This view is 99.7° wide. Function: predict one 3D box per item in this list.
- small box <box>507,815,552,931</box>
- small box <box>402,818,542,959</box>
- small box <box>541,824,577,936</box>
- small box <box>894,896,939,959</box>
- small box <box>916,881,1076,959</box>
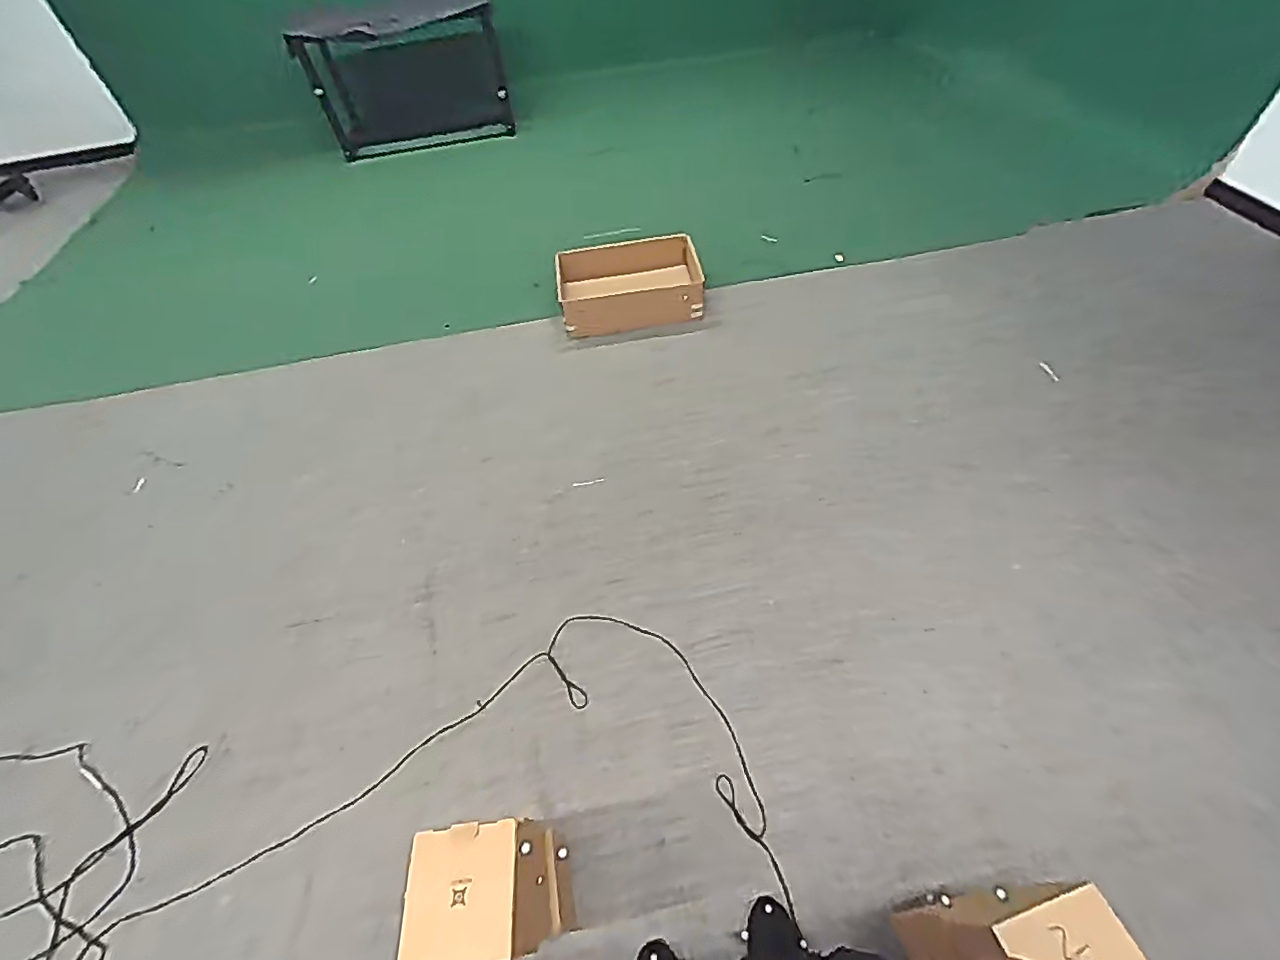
[{"bbox_3d":[-0.267,0.754,1.014,0.168,0.176,0.179,-11,51,-3],"label":"small box"},{"bbox_3d":[-0.258,0.667,0.874,0.168,0.176,0.179,-8,51,0],"label":"small box"},{"bbox_3d":[-0.236,0.854,1.141,0.168,0.176,0.179,-13,52,-3],"label":"small box"},{"bbox_3d":[0.607,0.900,1.025,0.179,0.176,0.168,-12,53,-3],"label":"small box"},{"bbox_3d":[0.592,0.795,0.902,0.179,0.176,0.168,-13,54,-6],"label":"small box"}]
